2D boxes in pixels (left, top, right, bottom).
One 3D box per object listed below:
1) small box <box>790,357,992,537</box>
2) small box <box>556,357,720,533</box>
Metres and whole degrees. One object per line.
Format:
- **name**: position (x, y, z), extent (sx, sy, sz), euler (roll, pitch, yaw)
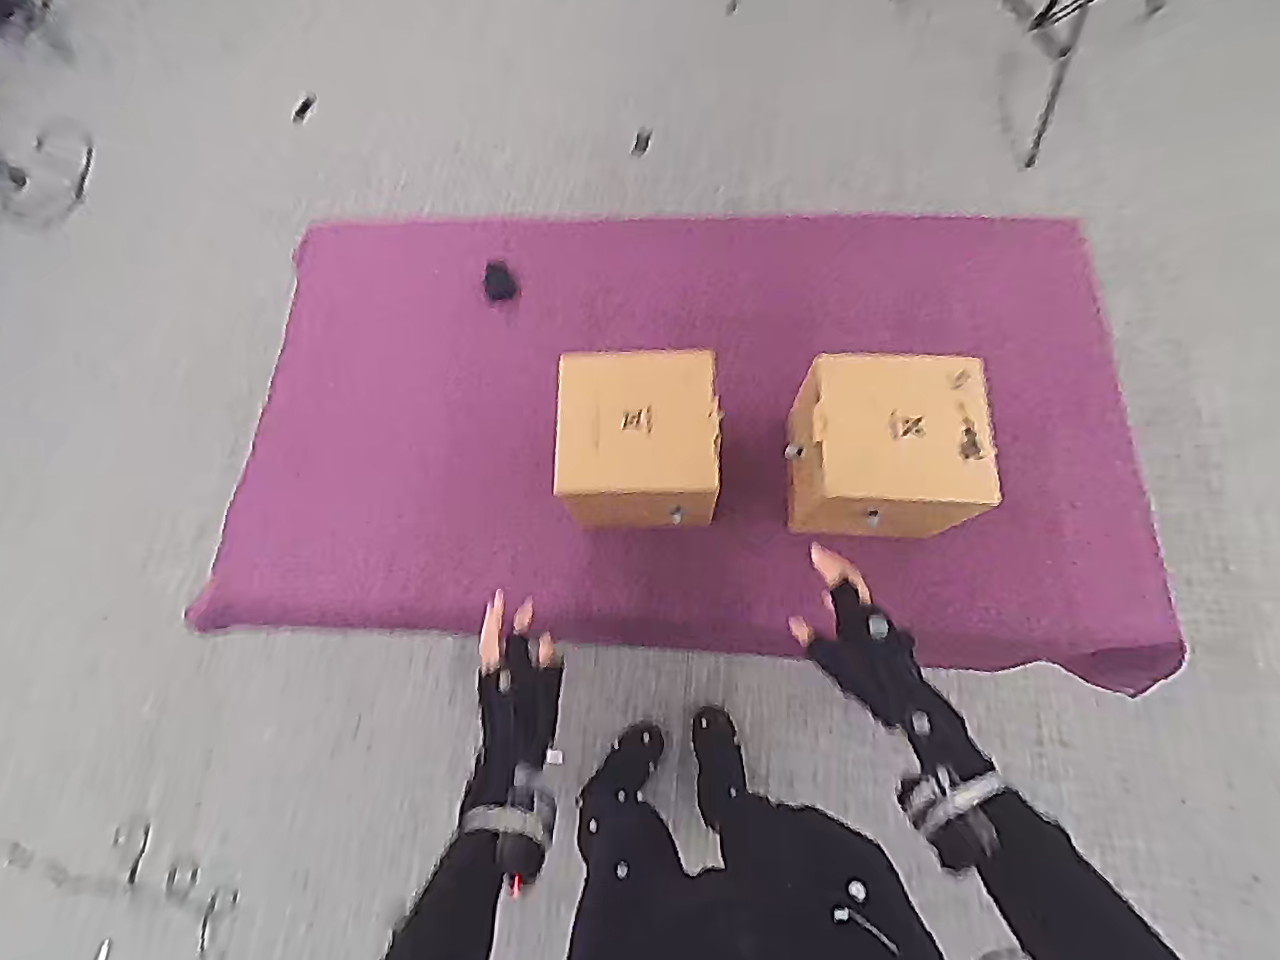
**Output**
- **small box**: position (0.279, -0.031, 0.649), extent (0.179, 0.176, 0.168), euler (2, 72, 5)
- **small box**: position (0.001, -0.035, 0.669), extent (0.179, 0.176, 0.168), euler (-3, 70, 4)
